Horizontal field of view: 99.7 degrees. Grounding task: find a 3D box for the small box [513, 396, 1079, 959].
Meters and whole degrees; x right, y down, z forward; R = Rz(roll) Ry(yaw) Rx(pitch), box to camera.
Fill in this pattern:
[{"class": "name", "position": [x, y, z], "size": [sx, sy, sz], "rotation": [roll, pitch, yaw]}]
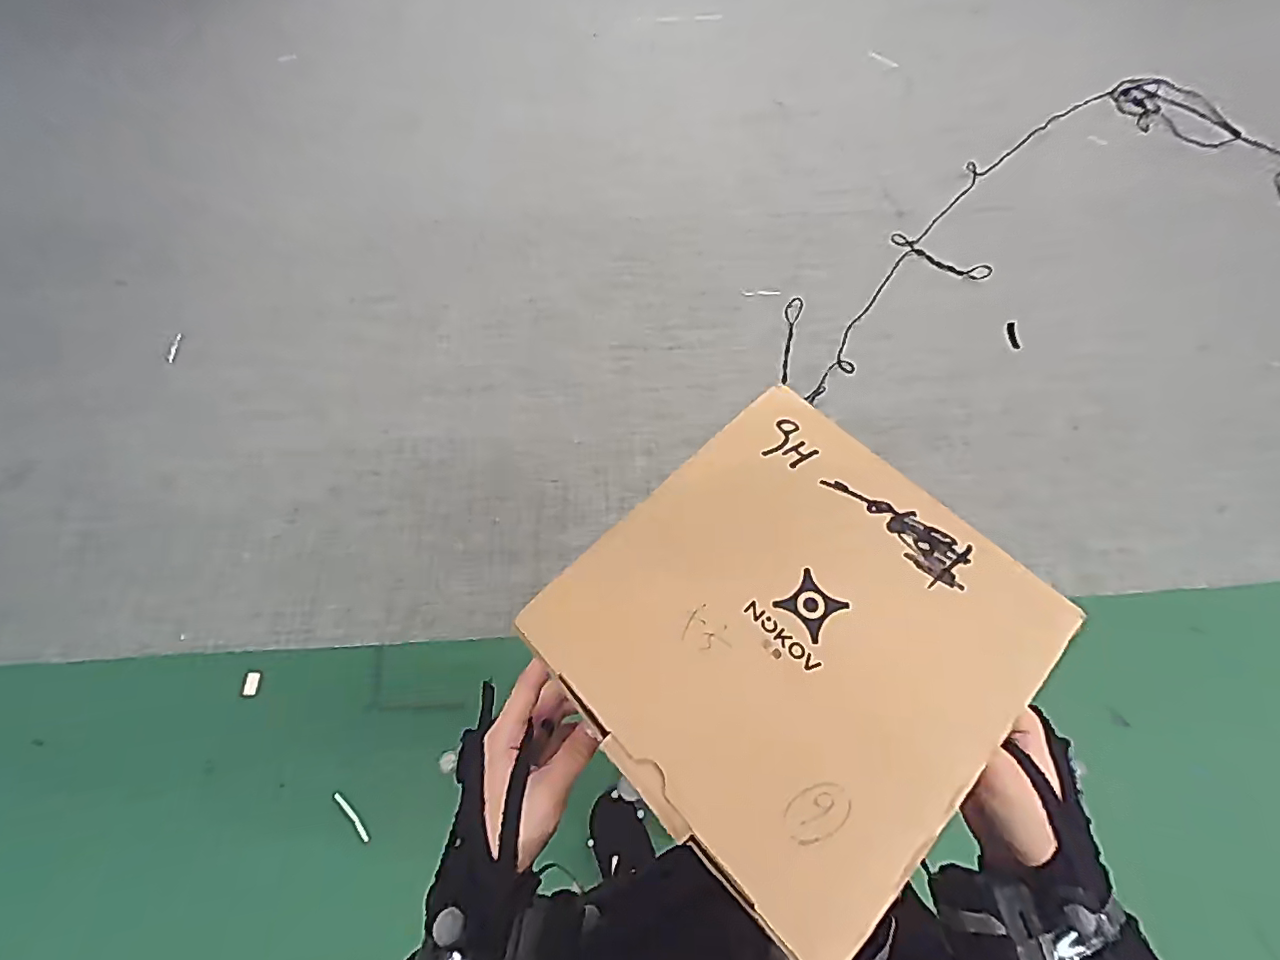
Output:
[{"class": "small box", "position": [0.066, 0.097, 0.295], "size": [0.179, 0.176, 0.168], "rotation": [-41, 69, -16]}]
